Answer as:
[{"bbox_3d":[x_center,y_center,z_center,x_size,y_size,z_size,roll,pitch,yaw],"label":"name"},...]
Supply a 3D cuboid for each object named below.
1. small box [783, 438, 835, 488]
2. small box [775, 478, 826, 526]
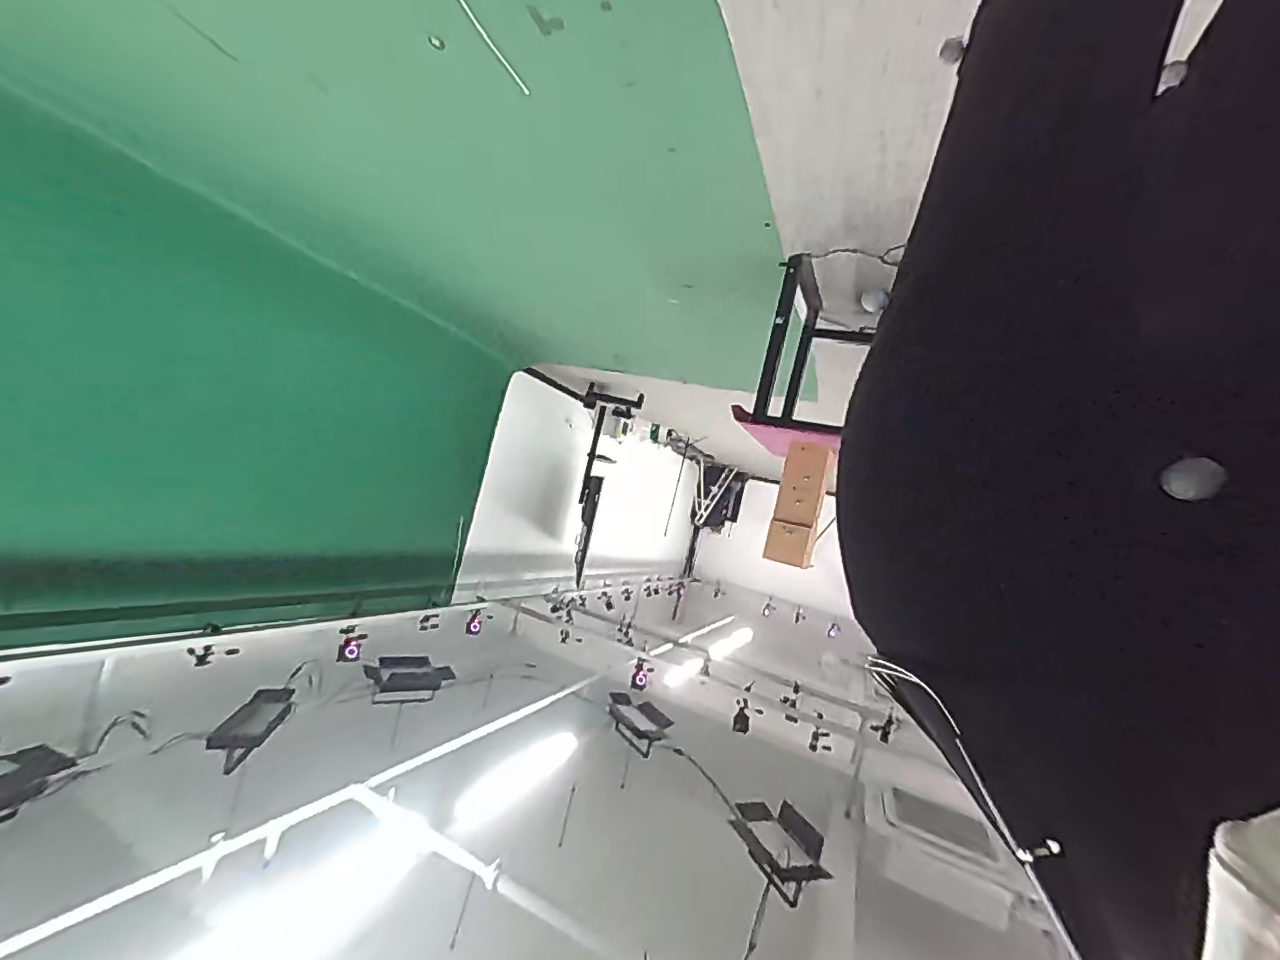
[{"bbox_3d":[0.708,-0.071,2.253,0.168,0.176,0.179,12,179,26],"label":"small box"},{"bbox_3d":[0.670,0.090,2.251,0.168,0.176,0.179,13,179,24],"label":"small box"}]
